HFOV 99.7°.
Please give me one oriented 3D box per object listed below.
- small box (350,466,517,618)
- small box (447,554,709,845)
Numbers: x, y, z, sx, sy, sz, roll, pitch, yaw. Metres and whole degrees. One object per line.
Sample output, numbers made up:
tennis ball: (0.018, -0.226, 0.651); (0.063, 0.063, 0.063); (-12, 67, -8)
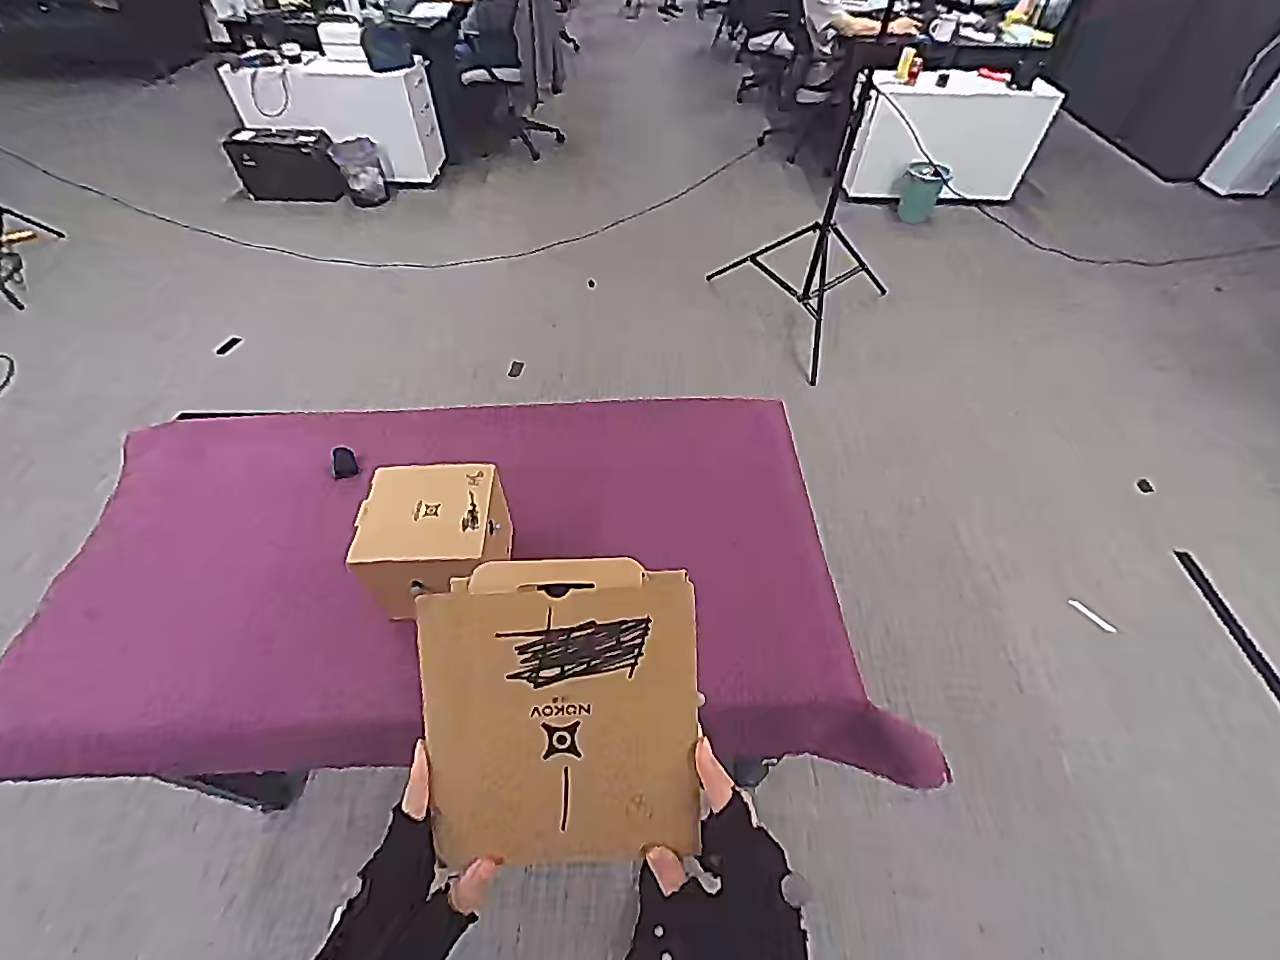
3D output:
small box: (-0.293, 0.097, 0.812); (0.179, 0.176, 0.168); (-2, 50, -2)
small box: (-0.041, 0.157, 0.432); (0.168, 0.176, 0.179); (-2, 77, -1)
